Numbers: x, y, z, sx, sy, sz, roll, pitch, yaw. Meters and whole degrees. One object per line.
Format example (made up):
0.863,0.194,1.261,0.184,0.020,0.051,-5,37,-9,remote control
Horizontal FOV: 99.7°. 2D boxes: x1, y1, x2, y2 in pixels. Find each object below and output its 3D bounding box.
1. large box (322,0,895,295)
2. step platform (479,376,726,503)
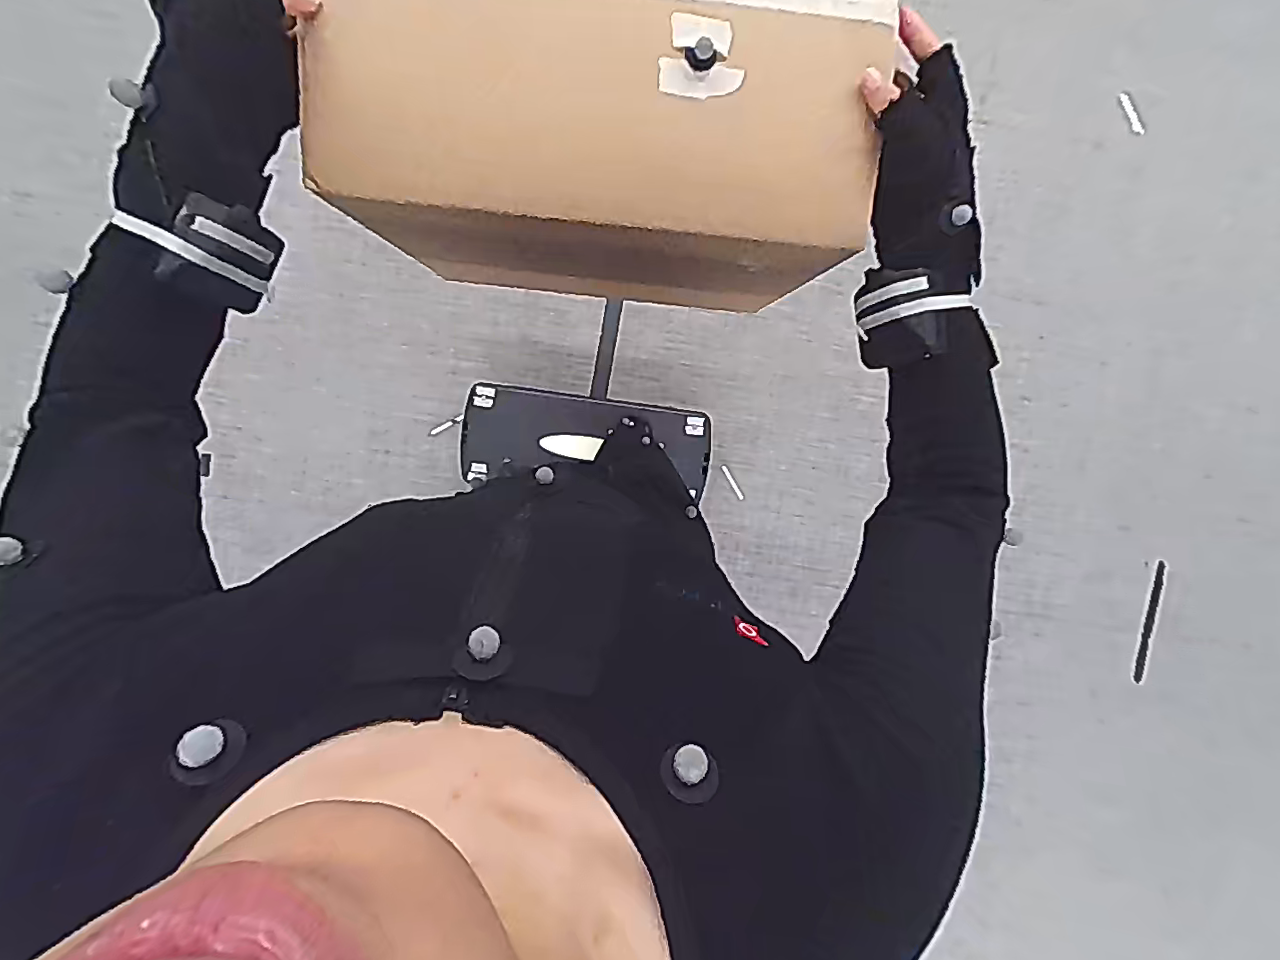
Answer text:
-0.025,-0.375,0.520,0.408,0.320,0.320,4,100,-4,large box
-0.103,-0.113,1.536,0.684,0.204,0.286,7,95,-3,step platform
